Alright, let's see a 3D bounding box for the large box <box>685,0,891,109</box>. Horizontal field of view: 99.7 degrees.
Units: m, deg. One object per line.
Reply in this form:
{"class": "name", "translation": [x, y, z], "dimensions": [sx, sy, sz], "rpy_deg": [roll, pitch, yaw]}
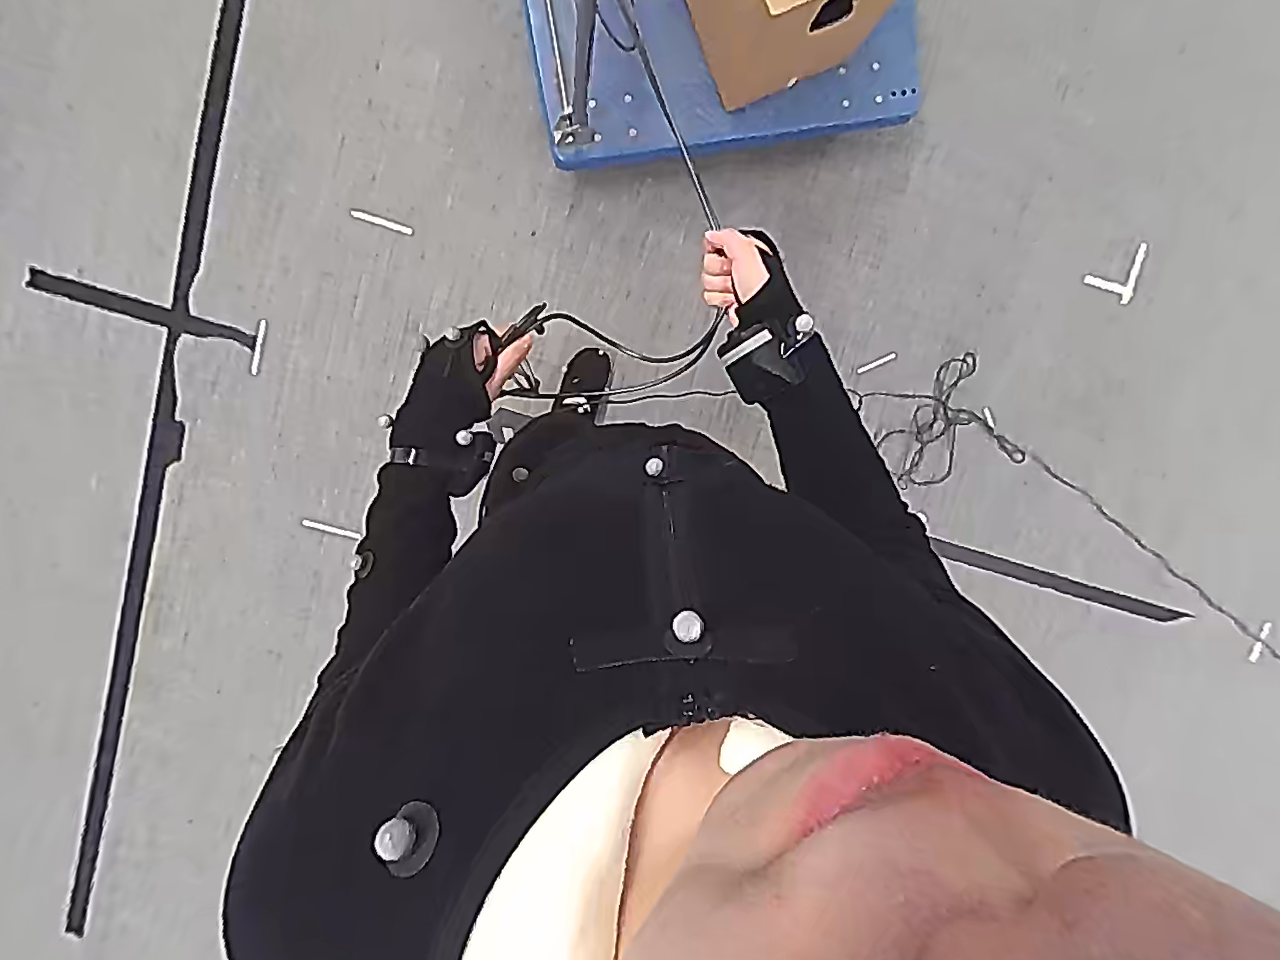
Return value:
{"class": "large box", "translation": [0.266, -1.048, 1.042], "dimensions": [0.320, 0.320, 0.408], "rpy_deg": [-25, 100, -1]}
